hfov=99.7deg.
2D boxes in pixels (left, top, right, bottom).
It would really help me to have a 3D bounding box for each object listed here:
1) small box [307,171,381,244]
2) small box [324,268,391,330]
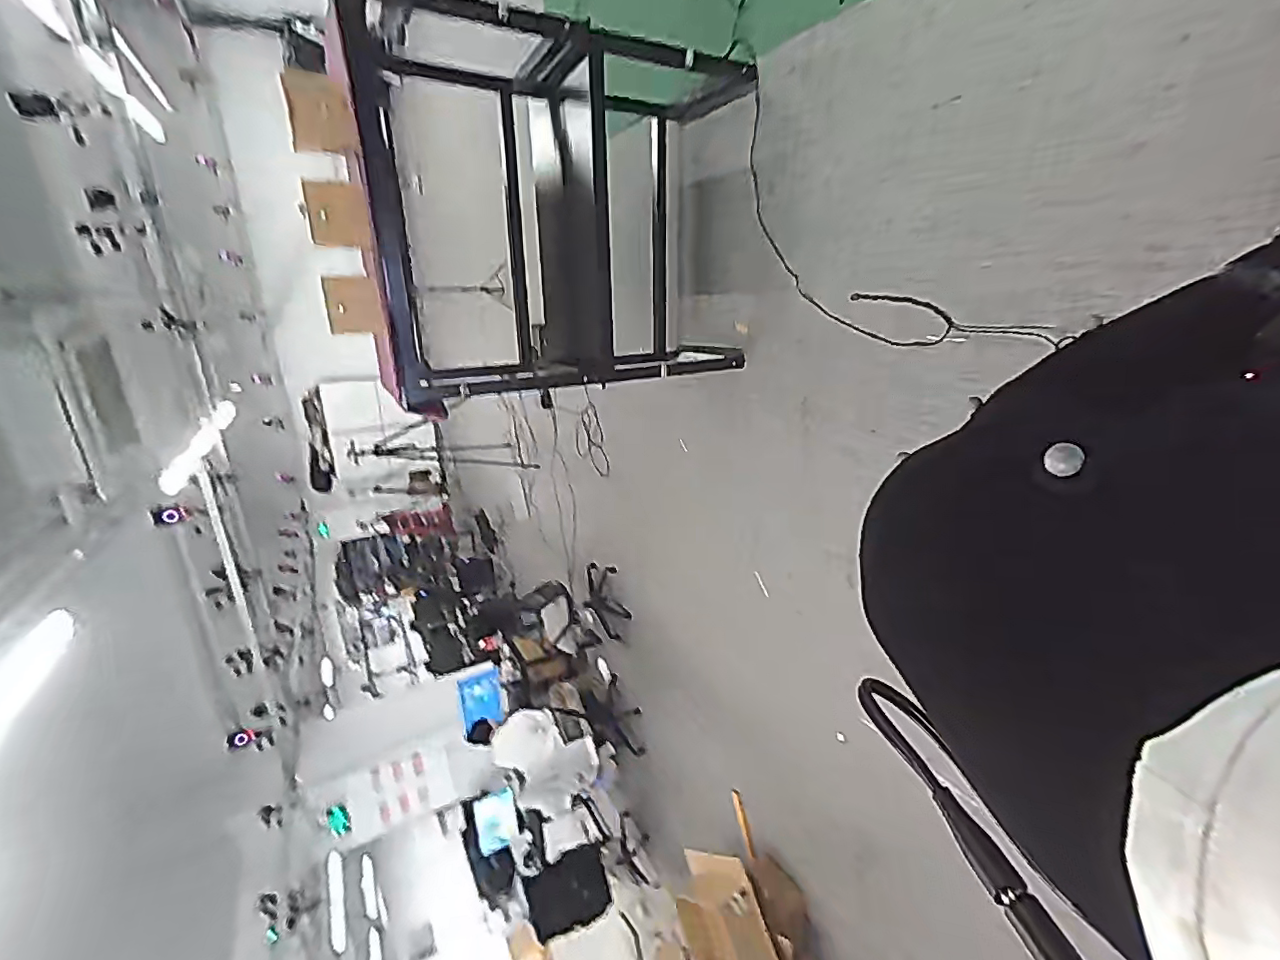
[{"bbox_3d":[-0.909,-0.829,1.661,0.168,0.176,0.179,29,125,57],"label":"small box"},{"bbox_3d":[-0.907,-0.584,1.740,0.168,0.176,0.179,35,128,54],"label":"small box"}]
